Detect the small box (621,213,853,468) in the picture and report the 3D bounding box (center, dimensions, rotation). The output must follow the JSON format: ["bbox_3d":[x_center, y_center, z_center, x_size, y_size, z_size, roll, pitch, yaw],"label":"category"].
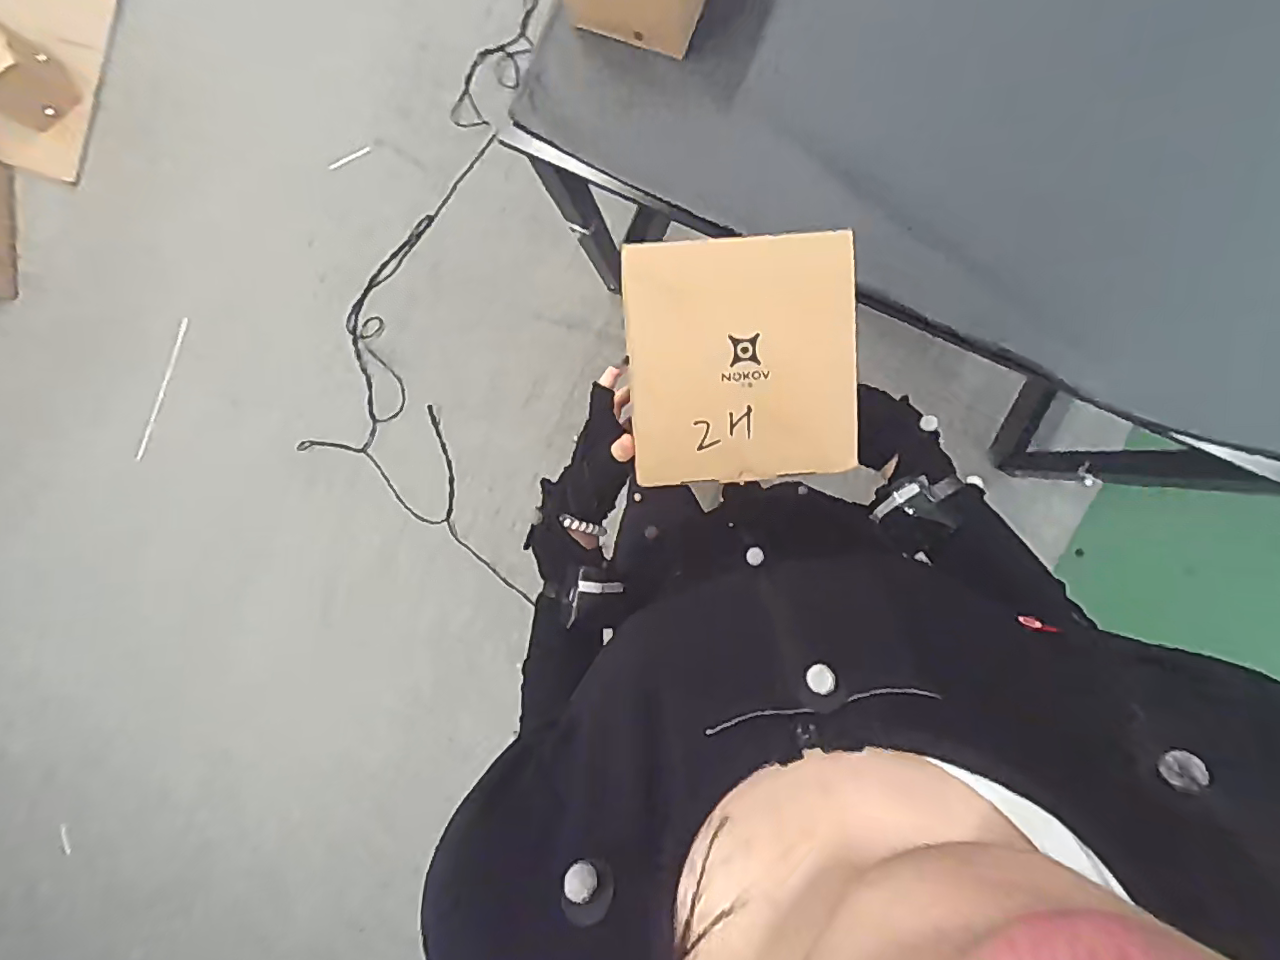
[{"bbox_3d":[0.069,-0.107,0.466,0.168,0.176,0.179,-3,98,0],"label":"small box"}]
